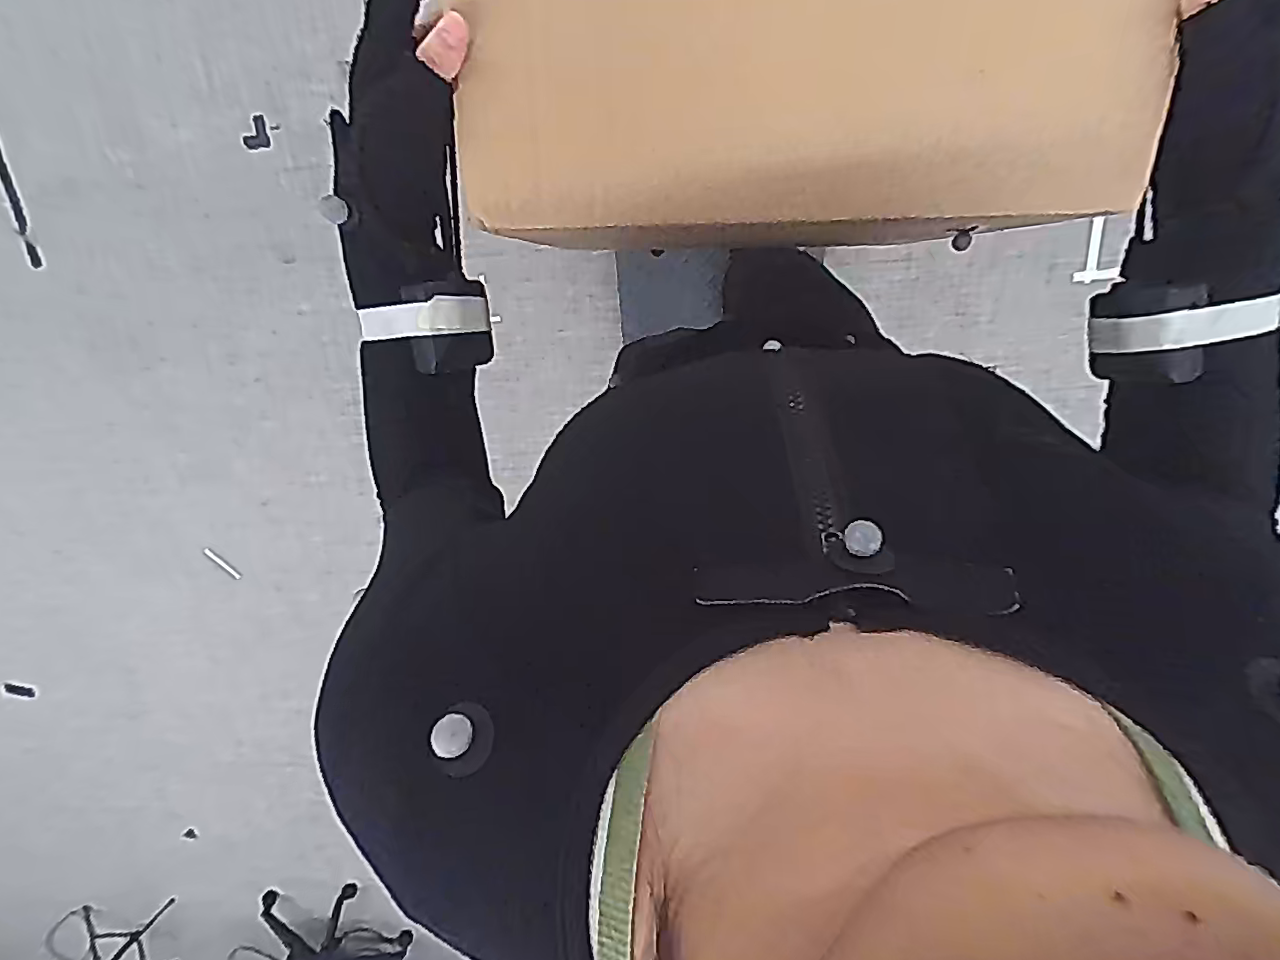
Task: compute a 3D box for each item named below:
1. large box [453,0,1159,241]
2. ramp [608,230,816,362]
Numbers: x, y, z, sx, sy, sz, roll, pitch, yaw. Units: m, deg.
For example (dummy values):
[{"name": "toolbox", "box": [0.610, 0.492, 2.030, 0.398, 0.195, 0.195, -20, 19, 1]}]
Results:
[{"name": "large box", "box": [0.095, -0.367, 0.425, 0.408, 0.320, 0.320, -1, 111, 2]}, {"name": "ramp", "box": [0.153, -0.752, 1.166, 0.509, 0.206, 0.991, -4, 110, 5]}]
